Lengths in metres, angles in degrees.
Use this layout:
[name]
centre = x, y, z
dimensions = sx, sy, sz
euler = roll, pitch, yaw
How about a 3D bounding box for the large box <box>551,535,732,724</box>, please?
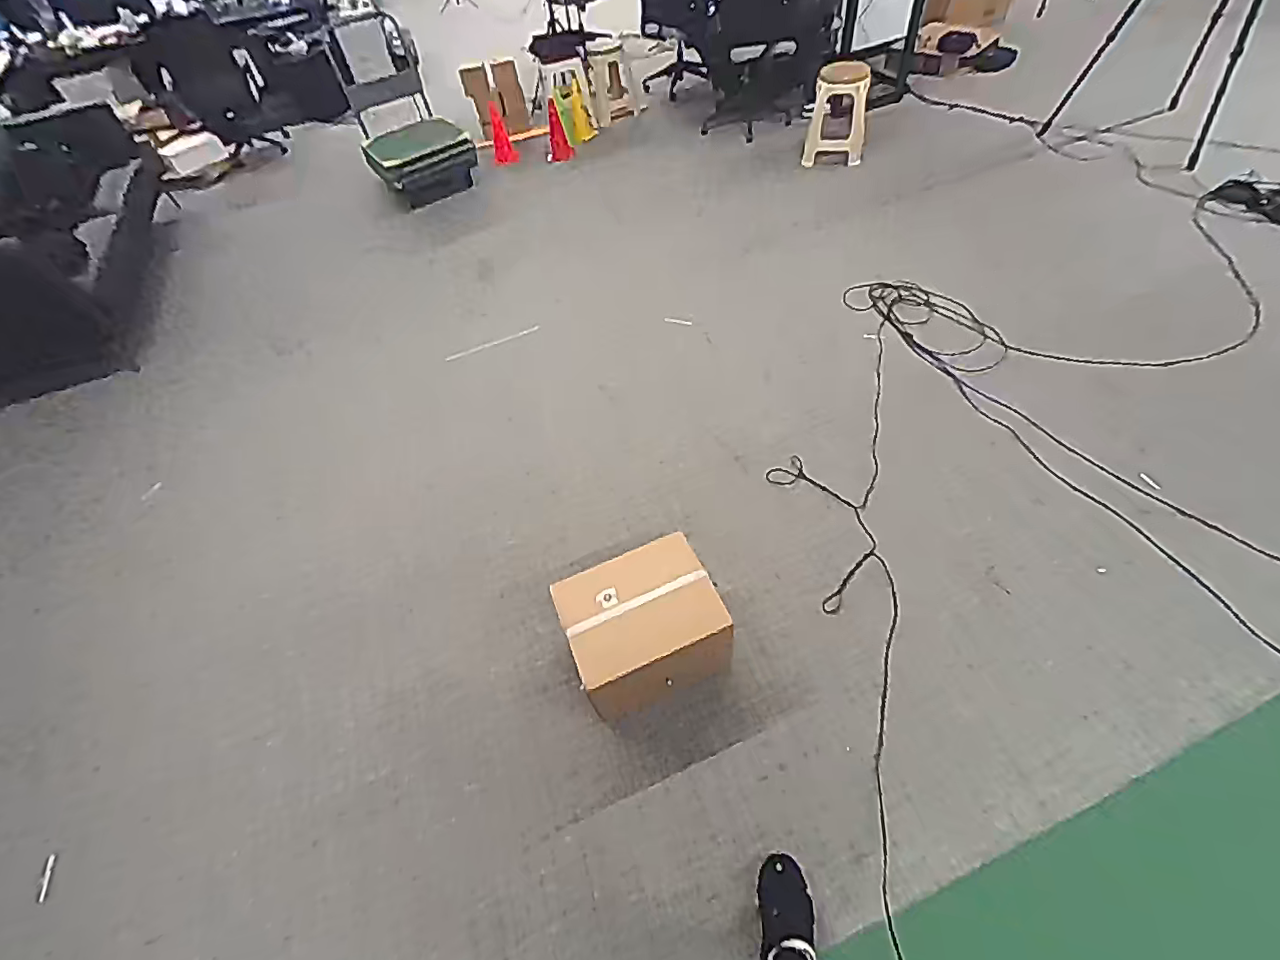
[large box]
centre = 0.013, 0.428, 1.545
dimensions = 0.408, 0.320, 0.320
euler = -24, 52, -9
